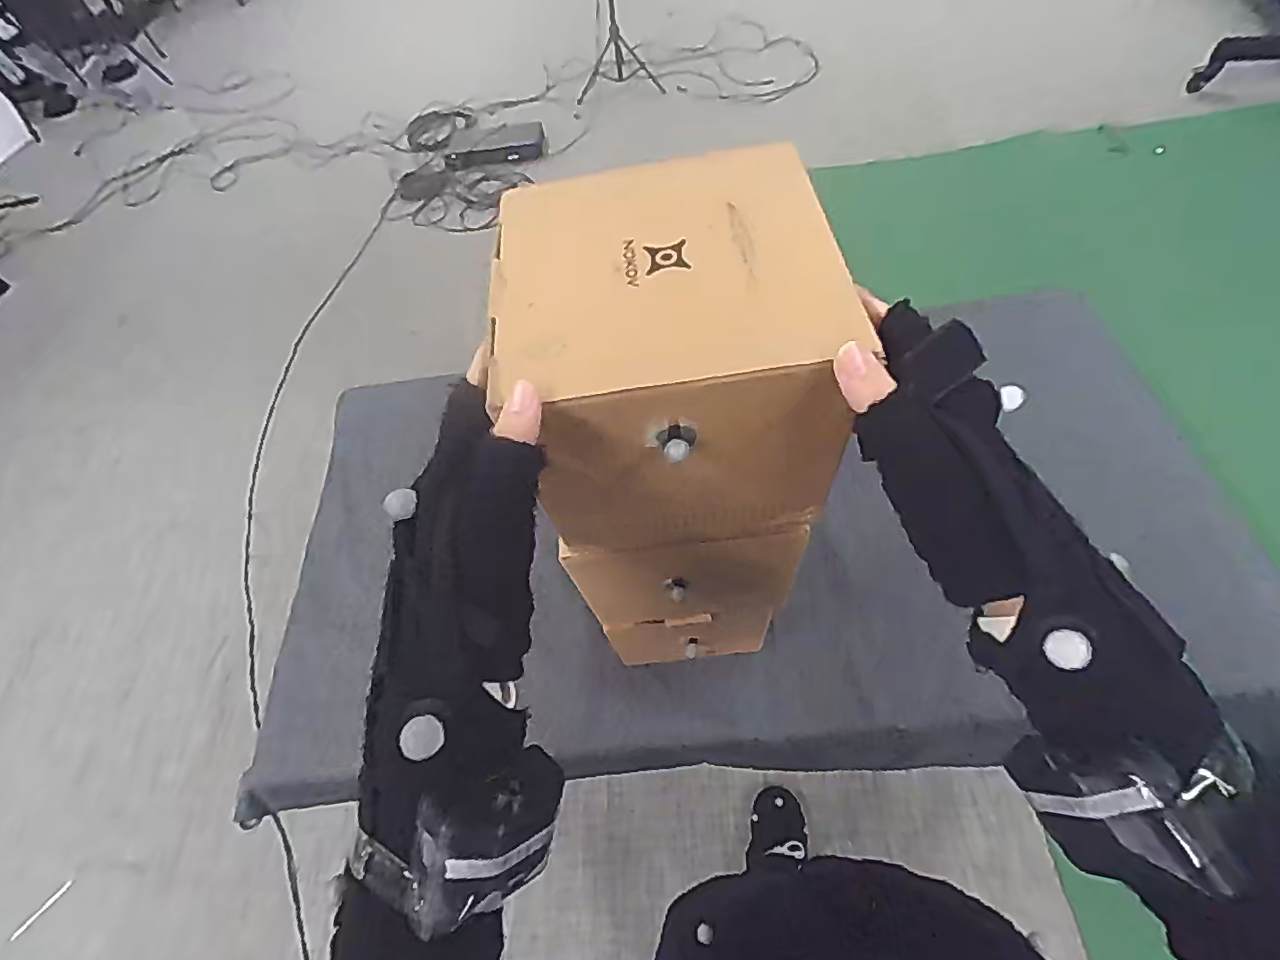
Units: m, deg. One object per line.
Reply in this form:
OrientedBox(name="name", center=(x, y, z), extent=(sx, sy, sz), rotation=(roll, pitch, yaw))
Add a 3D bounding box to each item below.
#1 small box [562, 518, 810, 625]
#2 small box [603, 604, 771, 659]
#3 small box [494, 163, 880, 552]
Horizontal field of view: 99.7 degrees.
OrientedBox(name="small box", center=(0.035, 0.022, 0.482), extent=(0.179, 0.176, 0.168), rotation=(-7, 59, 5))
OrientedBox(name="small box", center=(0.049, 0.102, 0.626), extent=(0.168, 0.176, 0.179), rotation=(-8, 60, 3))
OrientedBox(name="small box", center=(0.021, -0.064, 0.346), extent=(0.179, 0.176, 0.168), rotation=(-7, 60, 2))
